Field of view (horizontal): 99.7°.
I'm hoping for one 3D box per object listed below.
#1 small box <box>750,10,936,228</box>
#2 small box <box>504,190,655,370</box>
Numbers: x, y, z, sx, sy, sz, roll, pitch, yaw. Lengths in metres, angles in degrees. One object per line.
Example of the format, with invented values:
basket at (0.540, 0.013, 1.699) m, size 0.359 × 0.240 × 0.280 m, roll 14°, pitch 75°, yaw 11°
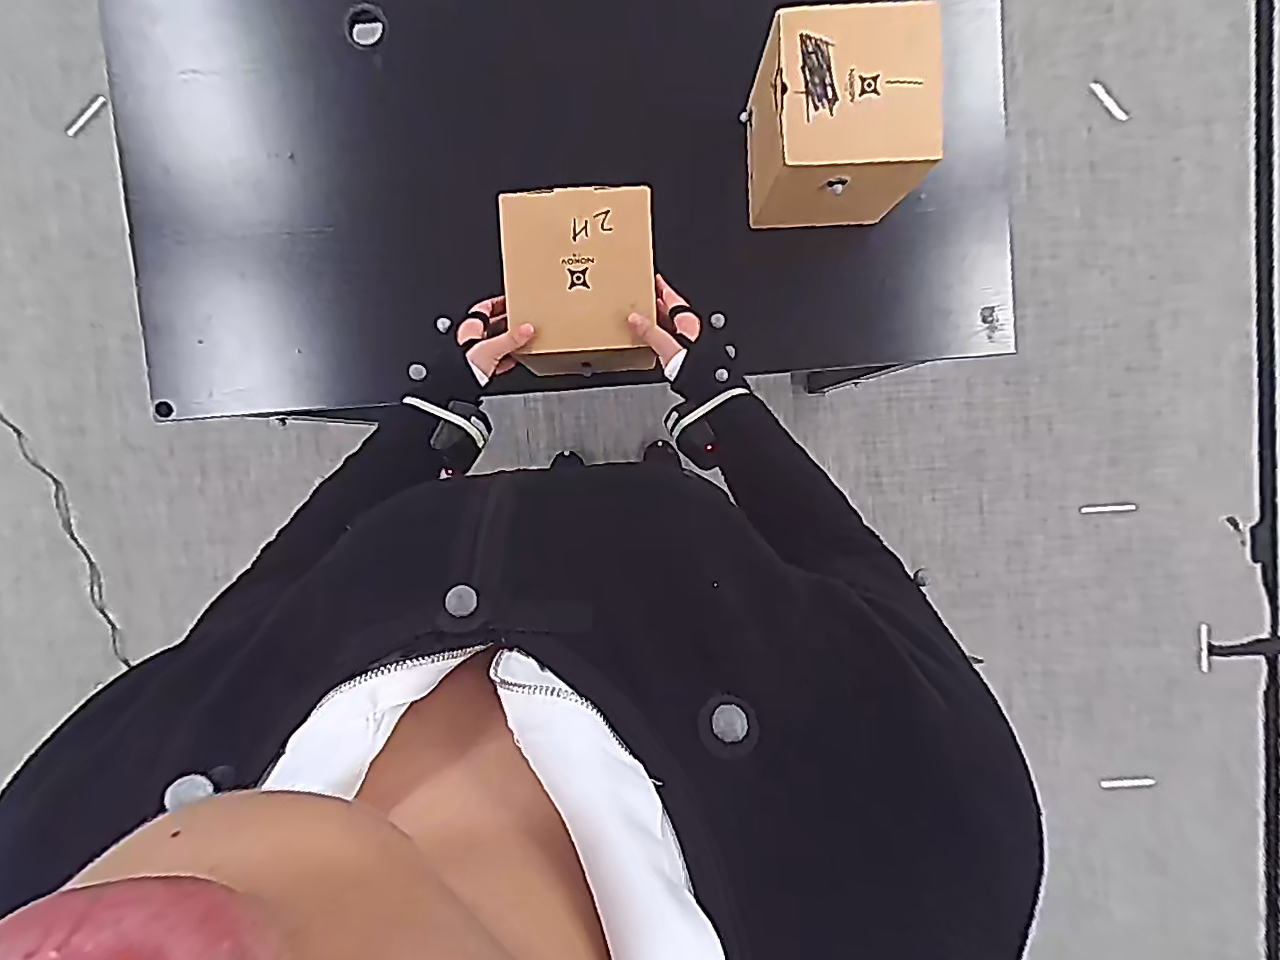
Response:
small box at (0.236, -0.429, 0.670) m, size 0.179 × 0.176 × 0.168 m, roll -2°, pitch 93°, yaw -1°
small box at (-0.066, -0.235, 0.680) m, size 0.168 × 0.176 × 0.179 m, roll -3°, pitch 93°, yaw 0°
